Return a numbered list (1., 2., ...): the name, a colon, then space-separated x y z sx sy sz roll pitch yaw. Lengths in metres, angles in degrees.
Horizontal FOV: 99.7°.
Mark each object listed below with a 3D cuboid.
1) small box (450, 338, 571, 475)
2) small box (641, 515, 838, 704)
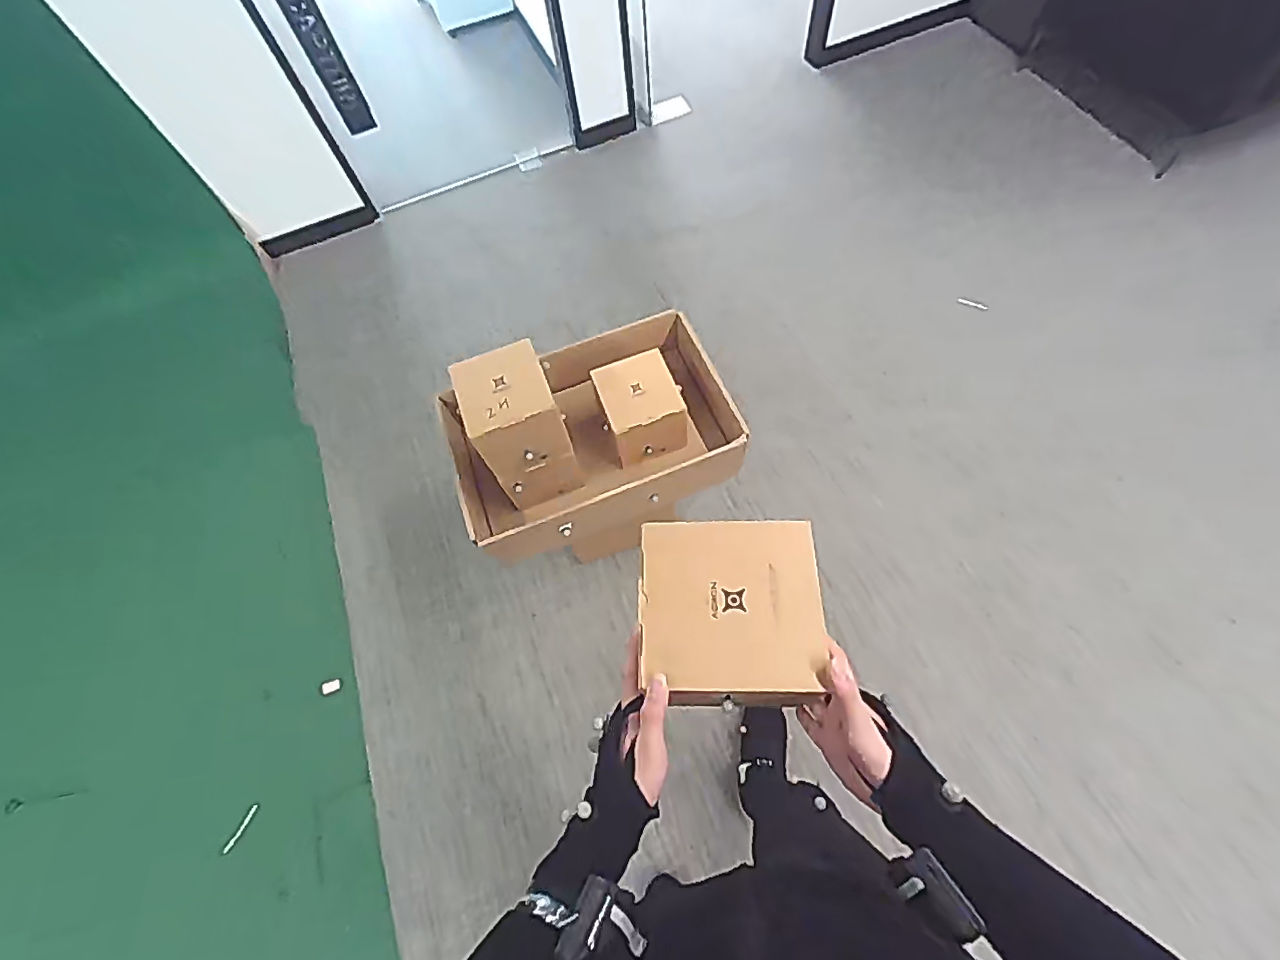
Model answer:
1. small box: -0.248 -0.139 1.056 0.168 0.176 0.179 -21 65 -5
2. small box: 0.095 0.146 0.585 0.179 0.176 0.168 0 63 3
